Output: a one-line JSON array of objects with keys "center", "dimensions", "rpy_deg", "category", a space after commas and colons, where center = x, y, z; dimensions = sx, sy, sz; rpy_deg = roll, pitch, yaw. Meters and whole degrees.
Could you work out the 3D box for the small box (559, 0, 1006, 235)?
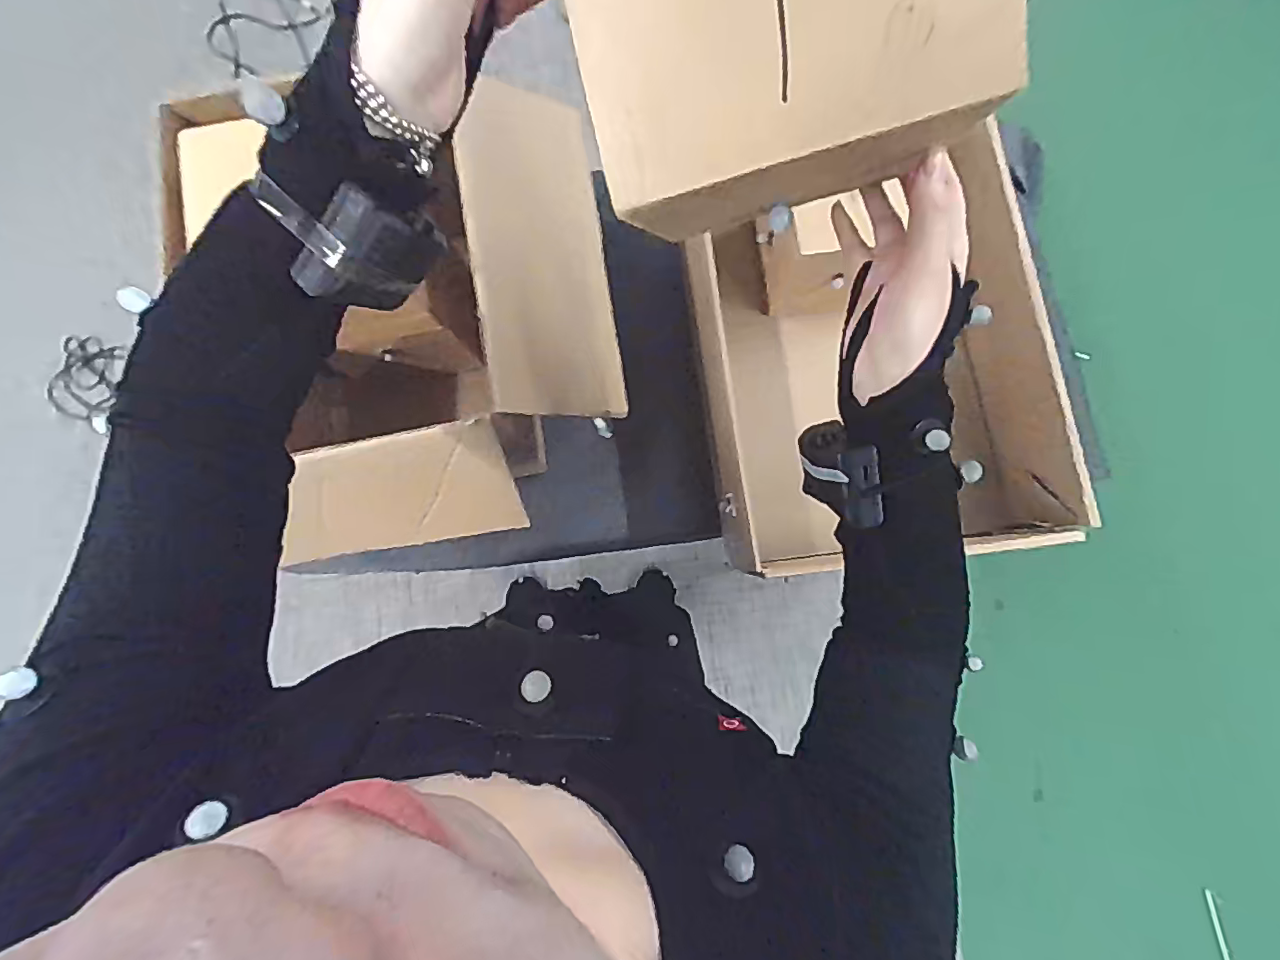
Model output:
[{"center": [0.059, -0.239, 0.274], "dimensions": [0.168, 0.176, 0.179], "rpy_deg": [-9, 110, 15], "category": "small box"}]
